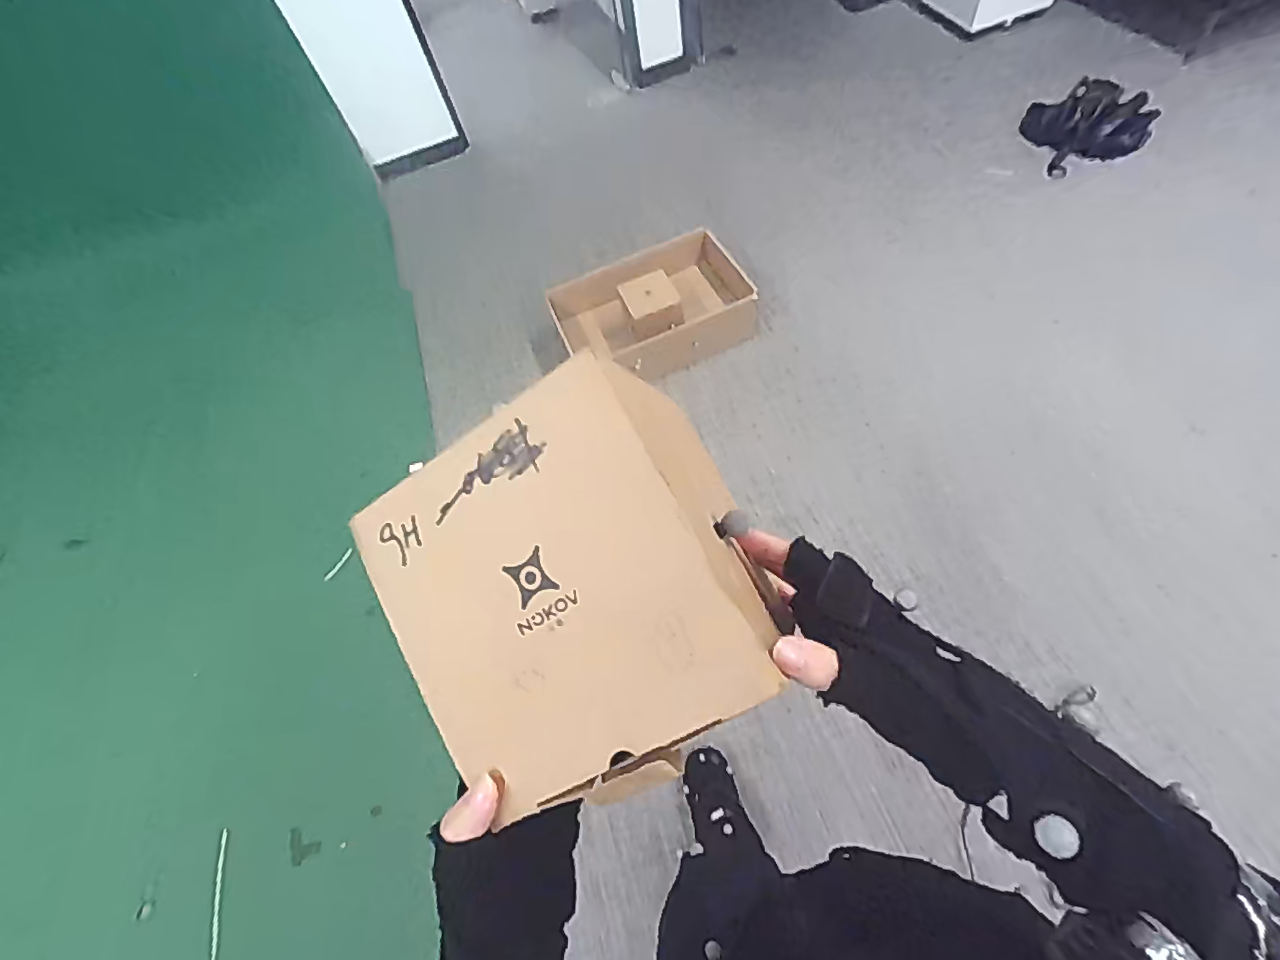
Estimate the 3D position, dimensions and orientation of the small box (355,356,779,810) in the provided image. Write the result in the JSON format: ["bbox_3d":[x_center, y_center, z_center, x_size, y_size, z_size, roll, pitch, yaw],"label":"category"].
[{"bbox_3d":[-0.026,0.053,0.340,0.168,0.176,0.179,-32,80,14],"label":"small box"}]

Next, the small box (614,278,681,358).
[{"bbox_3d":[0.030,-0.529,1.795,0.168,0.176,0.179,-22,57,-5],"label":"small box"}]
